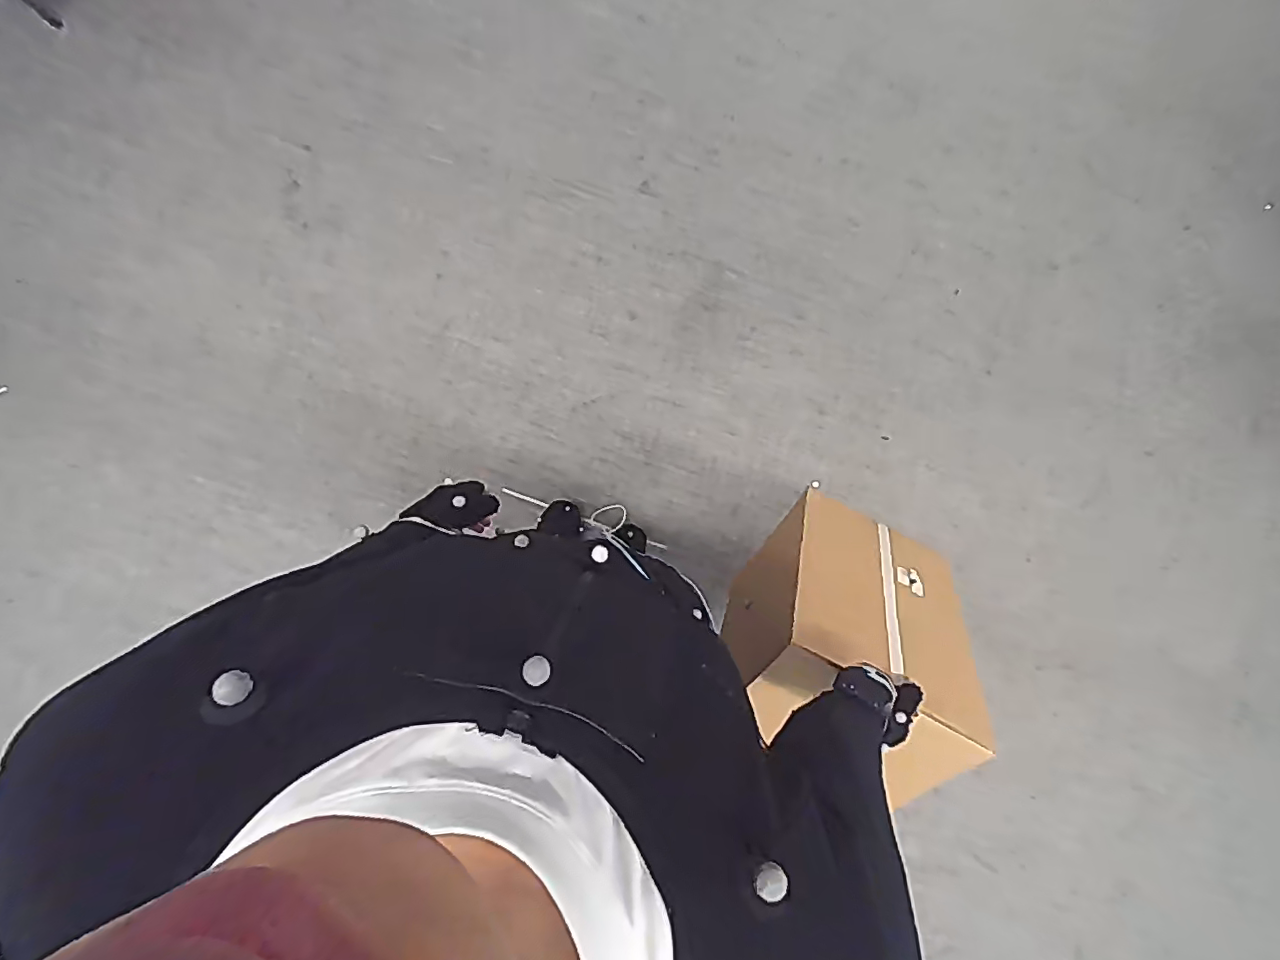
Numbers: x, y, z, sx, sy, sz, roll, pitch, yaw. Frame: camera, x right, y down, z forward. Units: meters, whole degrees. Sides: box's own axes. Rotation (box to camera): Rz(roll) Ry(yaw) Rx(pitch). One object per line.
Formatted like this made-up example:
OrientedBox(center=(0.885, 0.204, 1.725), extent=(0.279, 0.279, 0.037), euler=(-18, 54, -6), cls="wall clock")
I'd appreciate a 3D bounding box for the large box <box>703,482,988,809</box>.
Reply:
OrientedBox(center=(0.346, 0.285, 0.984), extent=(0.320, 0.408, 0.320), euler=(29, 127, 1), cls="large box")
